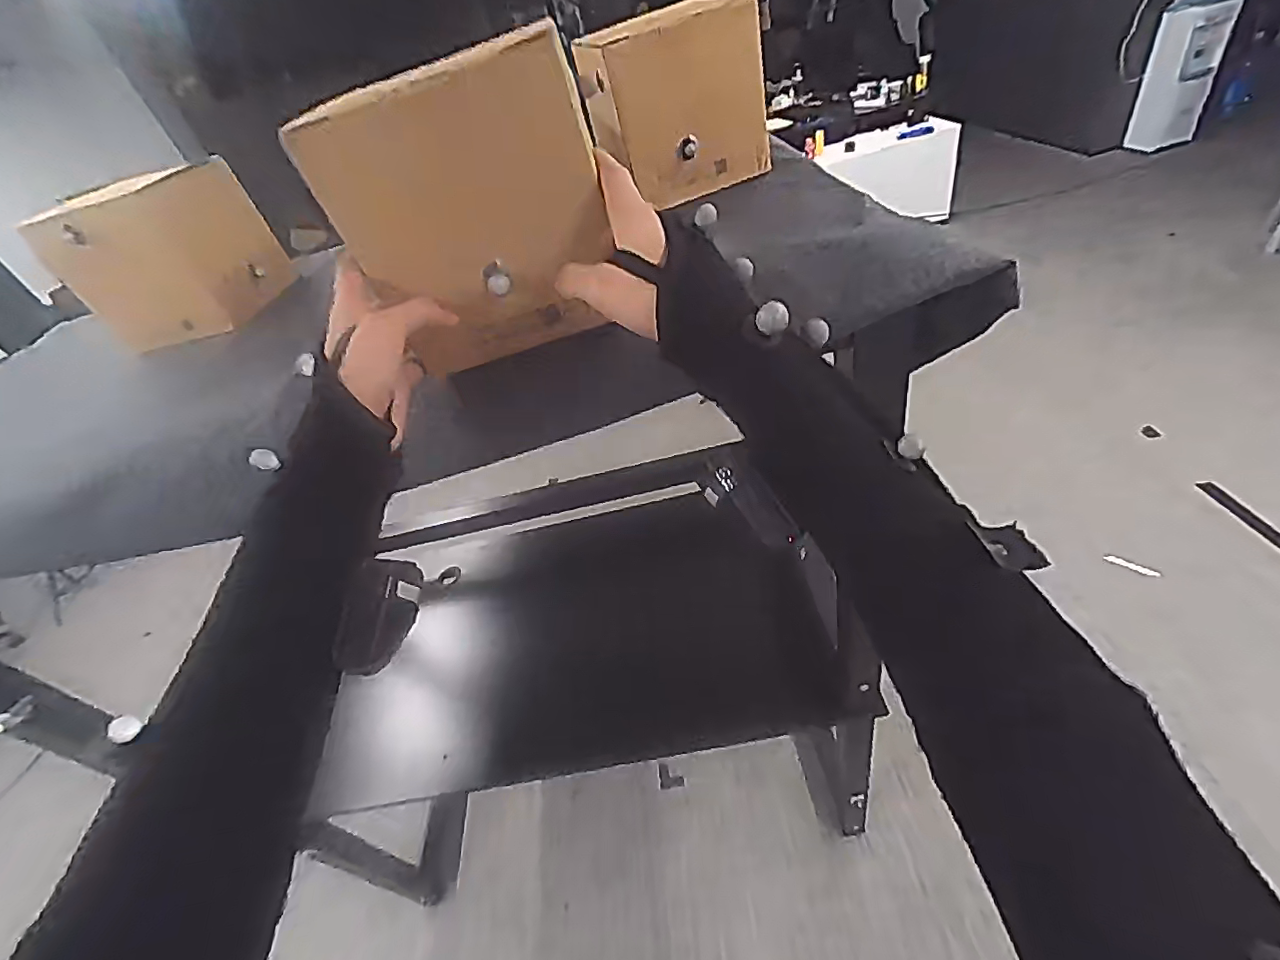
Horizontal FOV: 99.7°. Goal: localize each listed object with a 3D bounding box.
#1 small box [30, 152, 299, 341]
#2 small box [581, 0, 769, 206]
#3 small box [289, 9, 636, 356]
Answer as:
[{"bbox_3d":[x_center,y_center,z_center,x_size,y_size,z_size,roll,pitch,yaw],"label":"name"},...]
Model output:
[{"bbox_3d":[-0.600,-0.308,0.719,0.168,0.176,0.179,-10,41,9],"label":"small box"},{"bbox_3d":[0.042,-0.453,0.651,0.168,0.176,0.179,-21,43,-3],"label":"small box"},{"bbox_3d":[-0.108,-0.222,0.410,0.168,0.176,0.179,-16,42,6],"label":"small box"}]
